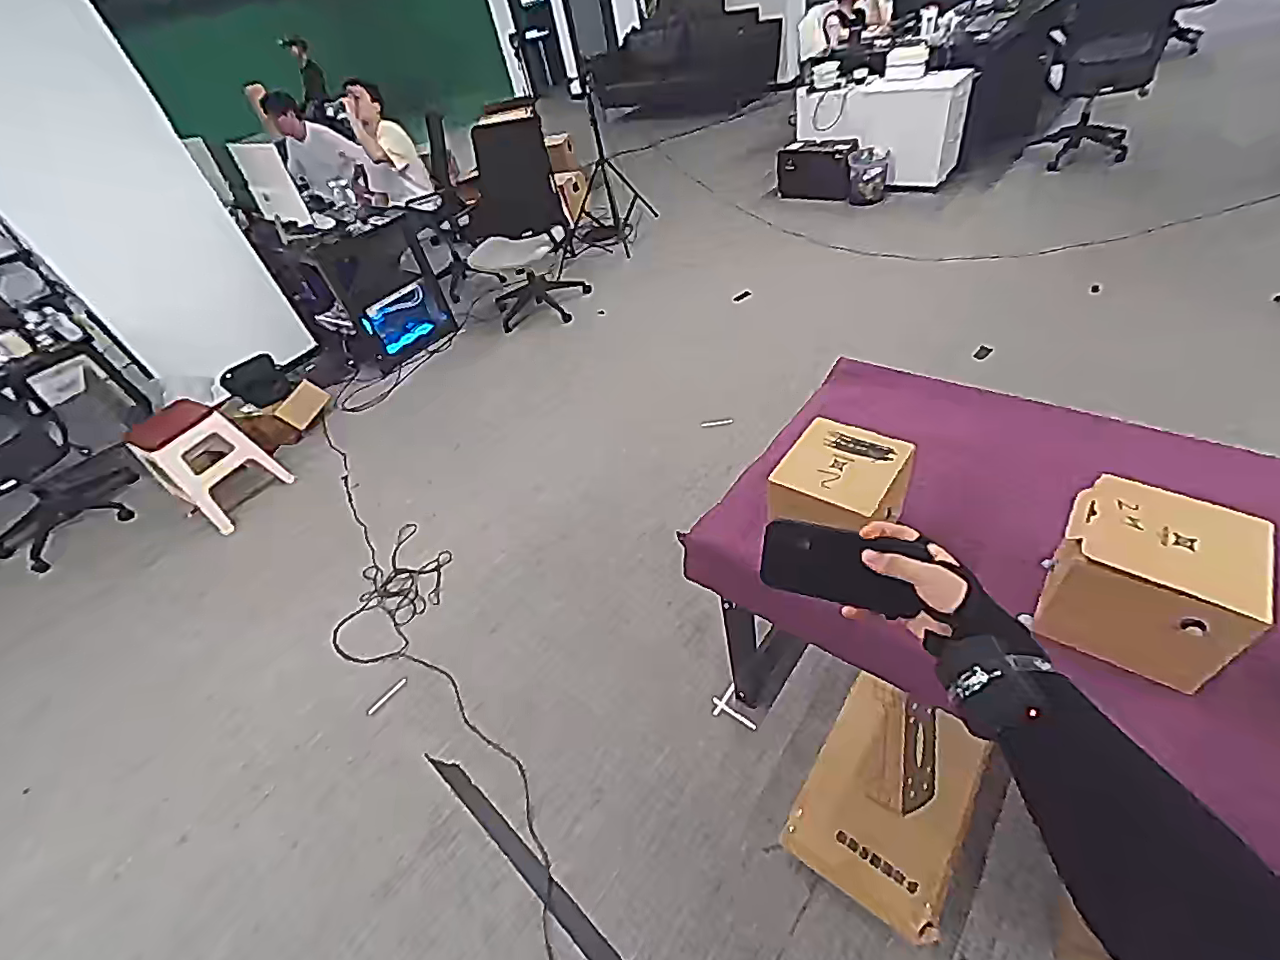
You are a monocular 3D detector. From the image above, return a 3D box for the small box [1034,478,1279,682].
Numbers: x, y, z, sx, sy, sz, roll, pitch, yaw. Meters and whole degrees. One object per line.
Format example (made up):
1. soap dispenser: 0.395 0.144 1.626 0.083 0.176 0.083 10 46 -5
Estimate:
1. small box: 0.655 0.132 0.701 0.179 0.176 0.168 22 52 33
